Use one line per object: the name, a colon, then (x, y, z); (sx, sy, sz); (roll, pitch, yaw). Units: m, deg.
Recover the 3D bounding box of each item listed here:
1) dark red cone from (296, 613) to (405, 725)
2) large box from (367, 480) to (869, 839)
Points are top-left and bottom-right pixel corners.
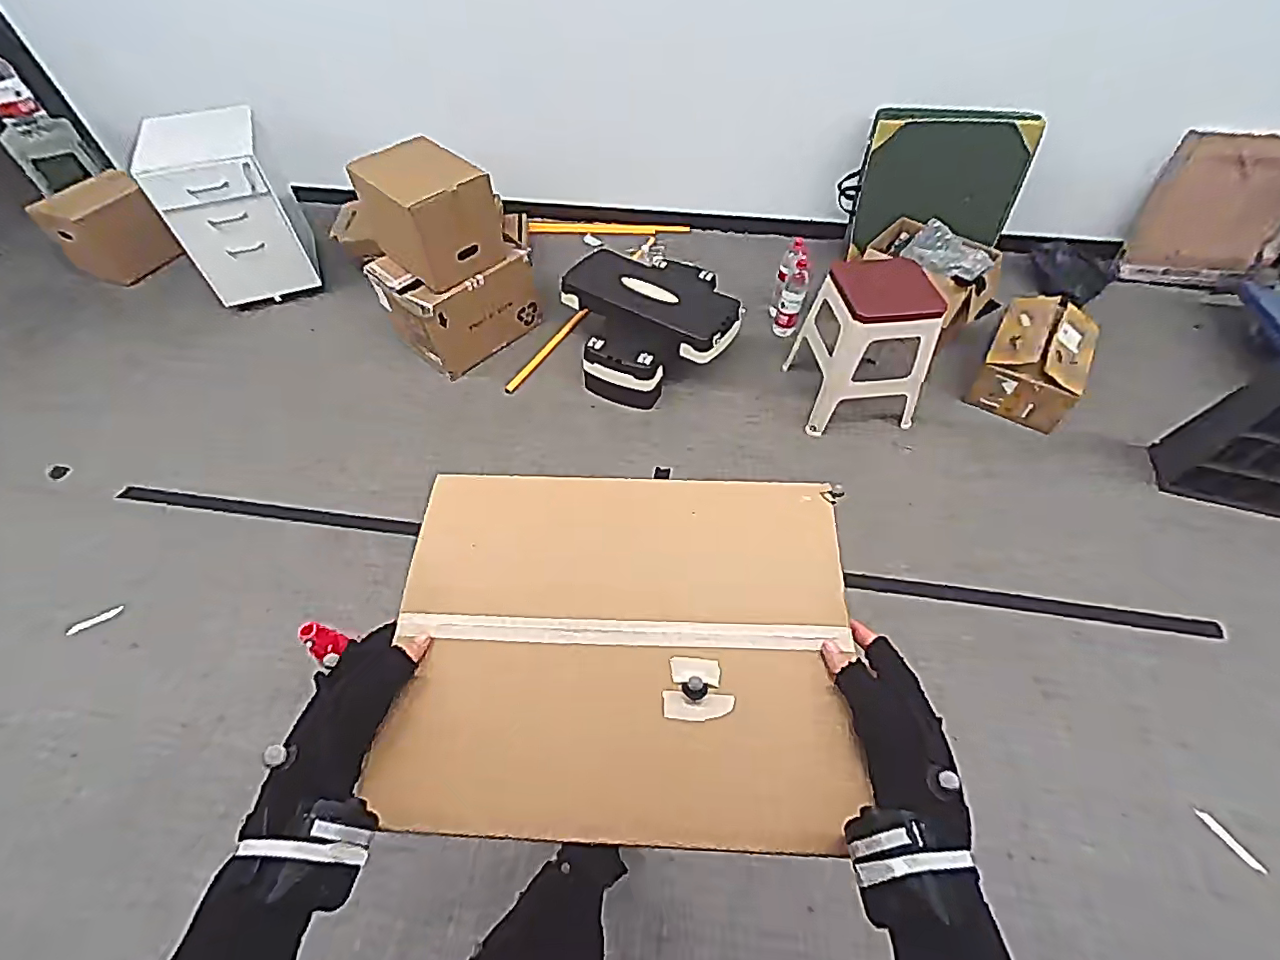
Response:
dark red cone: (-0.690, 0.409, 1.258); (0.201, 0.394, 0.202); (13, 54, 8)
large box: (-0.013, 0.211, 0.623); (0.408, 0.320, 0.320); (2, 61, 3)
